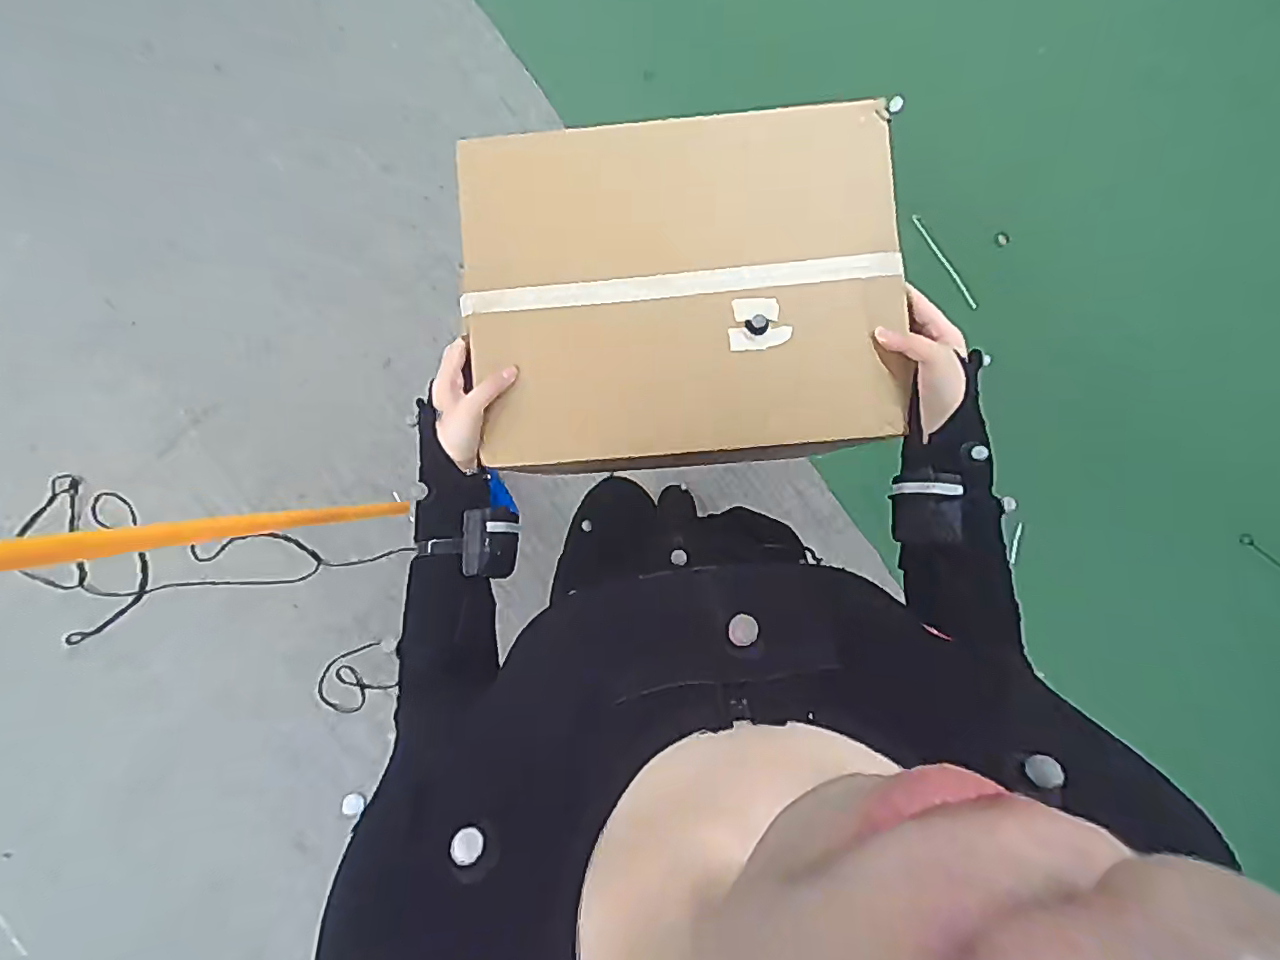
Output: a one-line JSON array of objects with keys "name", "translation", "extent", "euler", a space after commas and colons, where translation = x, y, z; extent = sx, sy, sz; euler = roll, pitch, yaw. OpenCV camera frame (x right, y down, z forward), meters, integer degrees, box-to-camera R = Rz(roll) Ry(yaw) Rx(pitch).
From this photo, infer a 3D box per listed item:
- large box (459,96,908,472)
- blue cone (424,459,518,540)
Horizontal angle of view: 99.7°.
[{"name": "large box", "translation": [0.039, -0.188, 0.658], "extent": [0.408, 0.320, 0.320], "euler": [-5, 89, 0]}, {"name": "blue cone", "translation": [-0.454, 0.050, 1.333], "extent": [0.192, 0.380, 0.193], "euler": [-27, 89, -2]}]
